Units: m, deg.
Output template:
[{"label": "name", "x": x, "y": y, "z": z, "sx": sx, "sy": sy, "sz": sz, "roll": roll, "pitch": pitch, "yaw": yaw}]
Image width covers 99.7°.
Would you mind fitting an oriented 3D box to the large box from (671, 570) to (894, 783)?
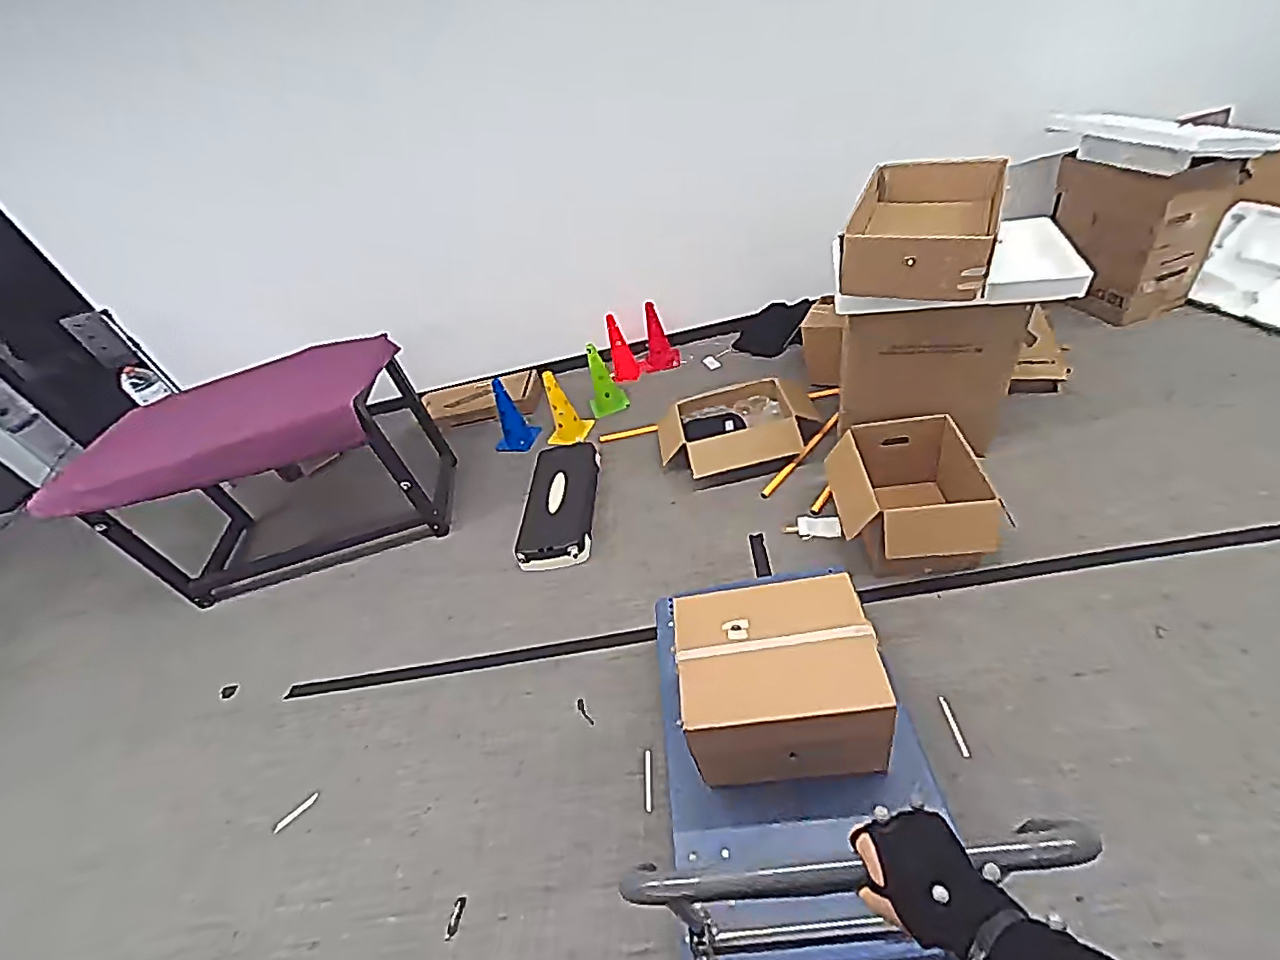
[{"label": "large box", "x": 0.307, "y": 0.448, "z": 1.220, "sx": 0.408, "sy": 0.320, "sz": 0.320, "roll": -12, "pitch": 40, "yaw": 9}]
